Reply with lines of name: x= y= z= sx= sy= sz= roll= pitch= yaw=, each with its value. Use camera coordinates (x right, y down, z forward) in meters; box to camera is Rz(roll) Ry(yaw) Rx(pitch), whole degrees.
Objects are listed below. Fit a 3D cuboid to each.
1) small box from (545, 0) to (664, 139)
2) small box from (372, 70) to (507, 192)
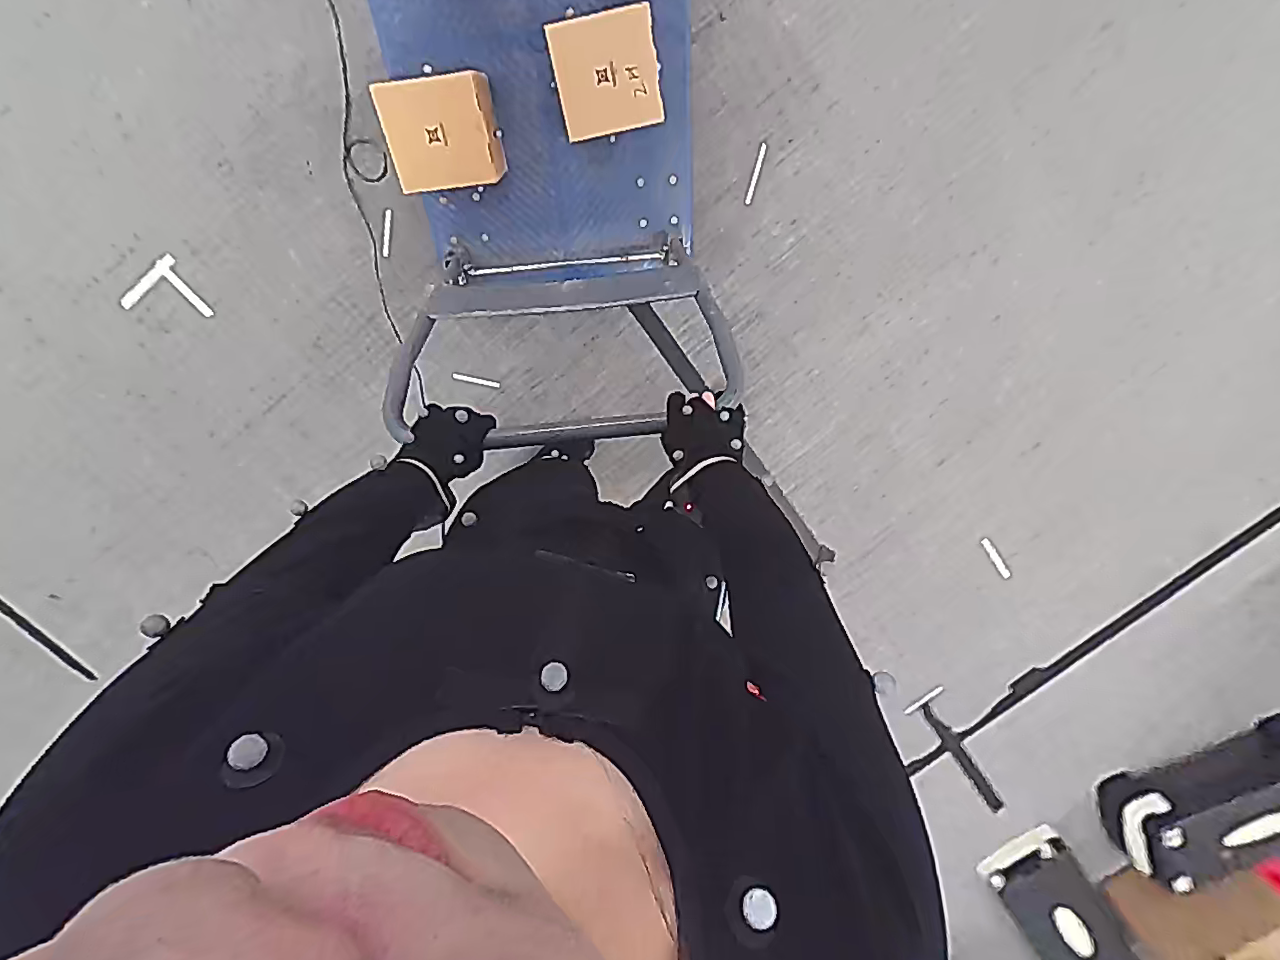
small box: x=-0.059 y=-0.729 z=0.973 sx=0.179 sy=0.176 sz=0.168 roll=-11 pitch=126 yaw=3
small box: x=-0.359 y=-0.646 z=1.005 sx=0.179 sy=0.176 sz=0.168 roll=-9 pitch=126 yaw=-1
